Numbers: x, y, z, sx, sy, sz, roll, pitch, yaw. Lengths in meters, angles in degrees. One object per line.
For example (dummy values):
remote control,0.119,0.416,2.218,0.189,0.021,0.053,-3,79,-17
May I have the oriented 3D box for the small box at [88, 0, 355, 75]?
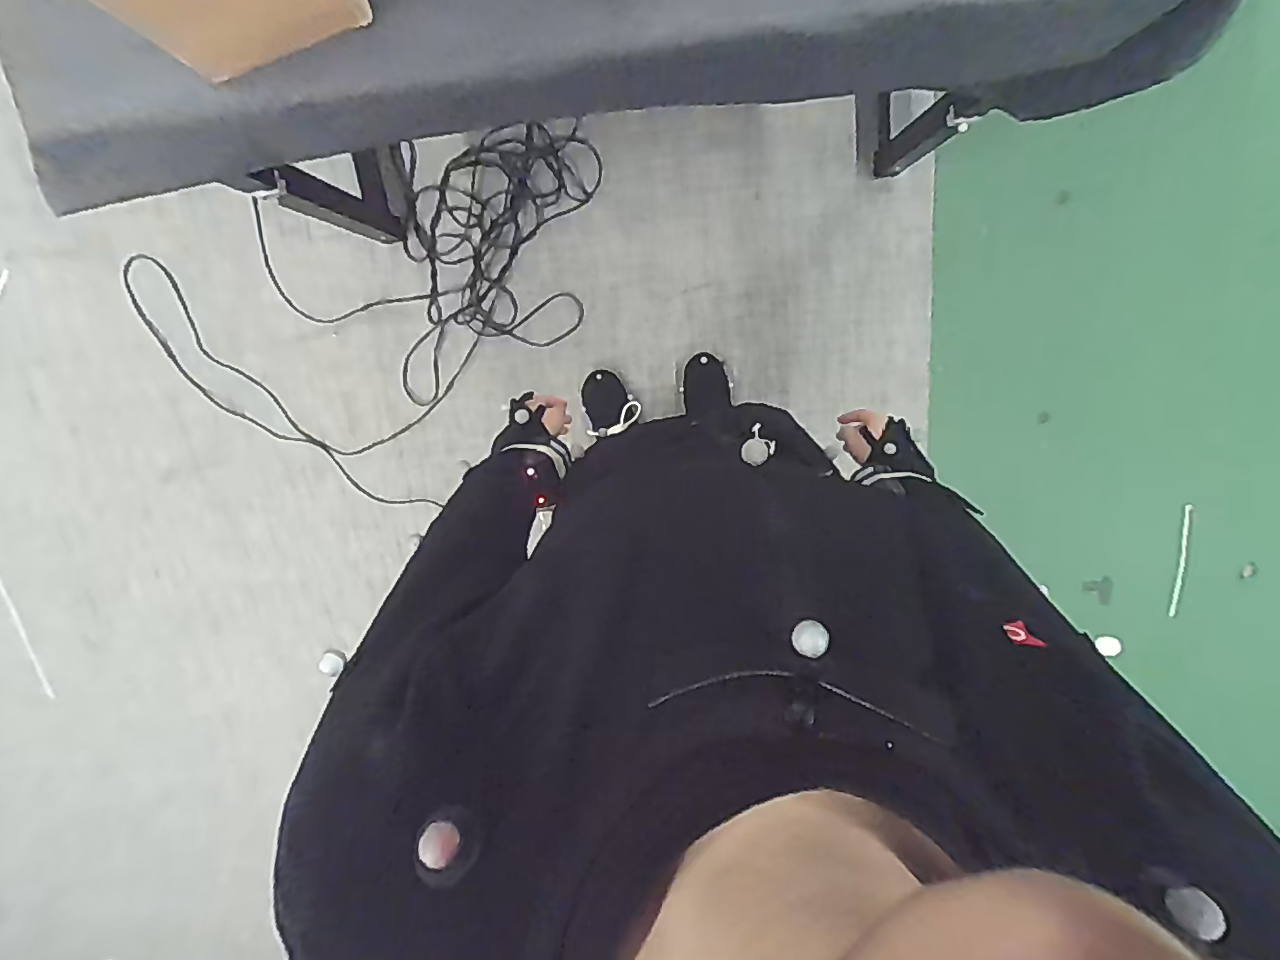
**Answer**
small box,-0.361,-0.474,0.431,0.179,0.176,0.168,-17,102,5
